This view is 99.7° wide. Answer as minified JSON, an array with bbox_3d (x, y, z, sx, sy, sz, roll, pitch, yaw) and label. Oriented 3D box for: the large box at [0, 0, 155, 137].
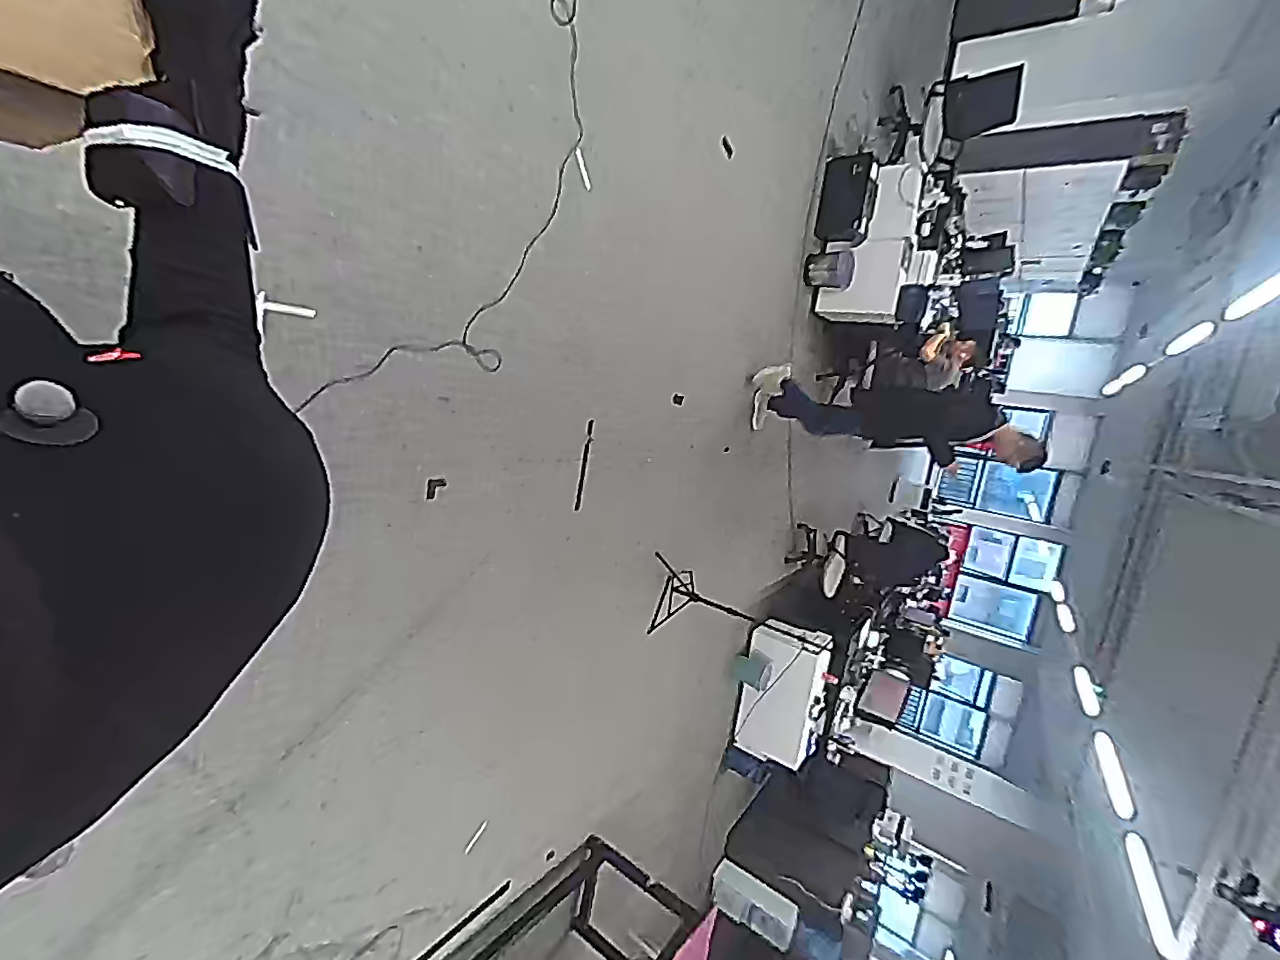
[{"bbox_3d":[-0.558,-0.419,0.259,0.408,0.320,0.320,-13,116,-57],"label":"large box"}]
